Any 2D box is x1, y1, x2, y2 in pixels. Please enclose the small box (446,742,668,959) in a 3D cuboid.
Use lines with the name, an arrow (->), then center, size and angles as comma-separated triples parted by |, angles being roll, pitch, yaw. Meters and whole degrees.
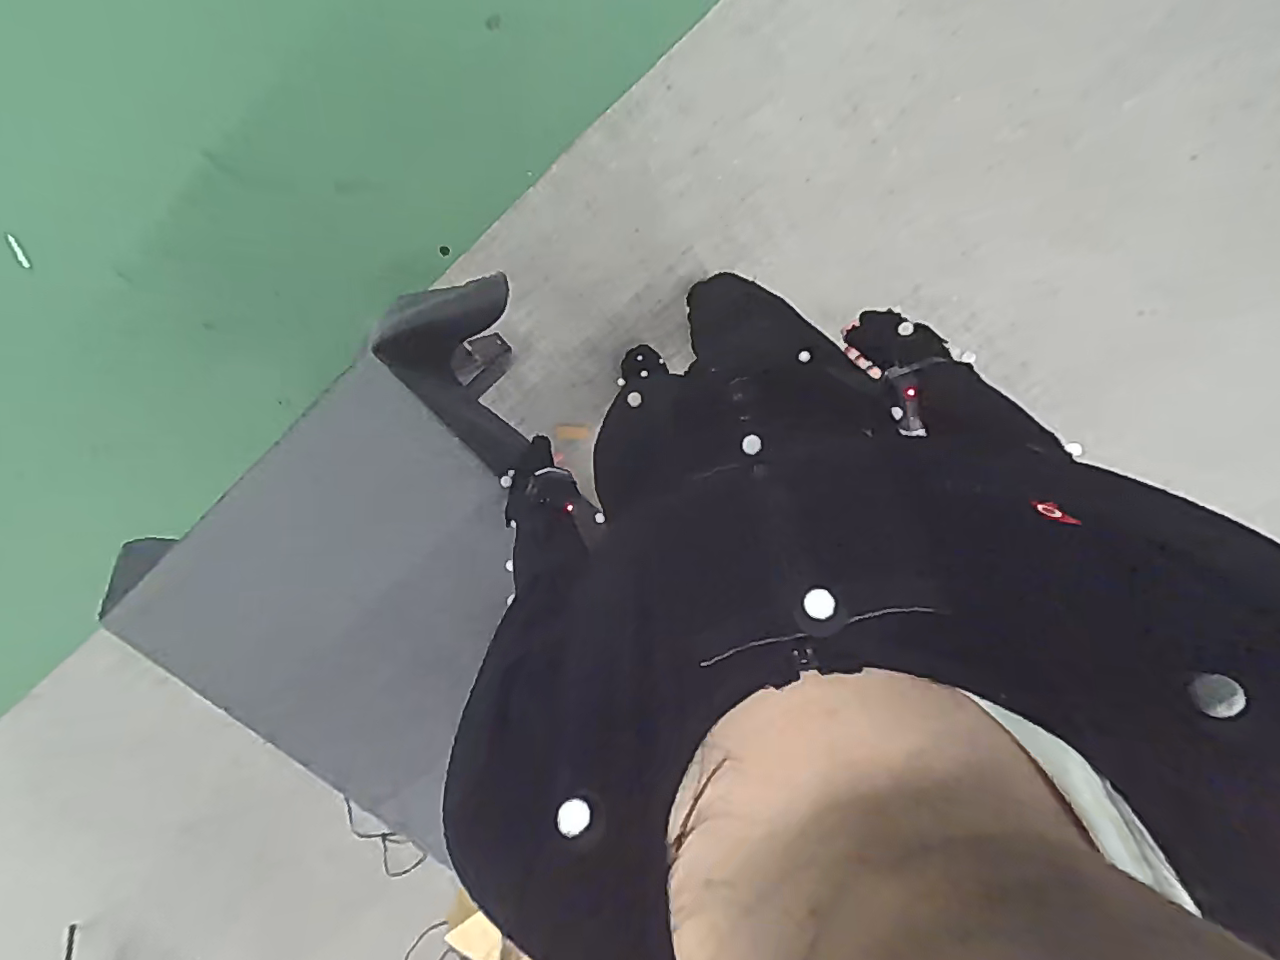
small box -> -0.088, 0.449, 0.641 | 0.168, 0.176, 0.179 | -40, 105, 11
